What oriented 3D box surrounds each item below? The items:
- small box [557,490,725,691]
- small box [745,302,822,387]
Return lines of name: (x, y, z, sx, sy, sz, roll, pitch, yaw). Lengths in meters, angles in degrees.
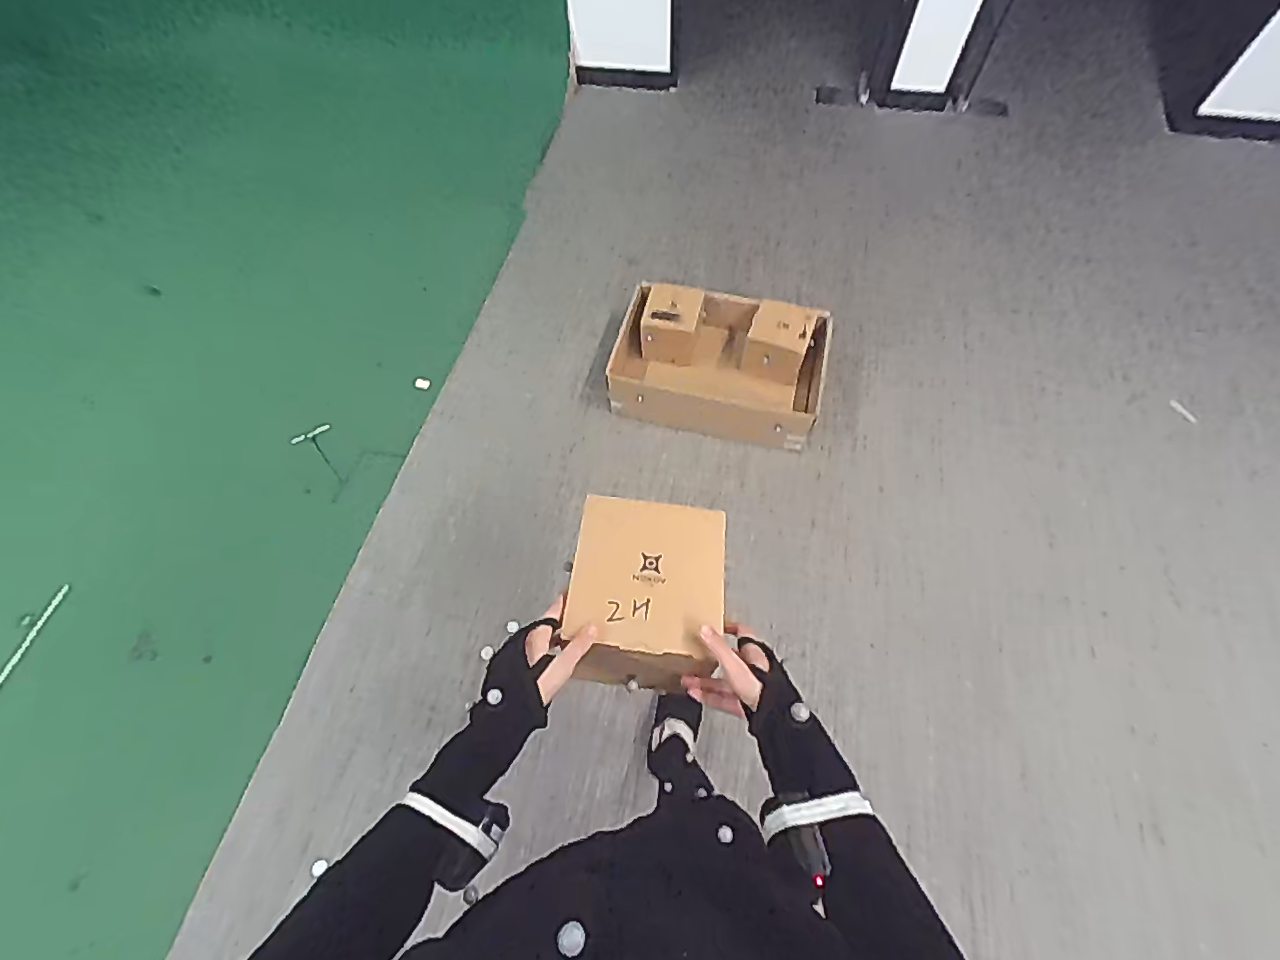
small box: (0.002, 0.138, 0.653, 0.168, 0.176, 0.179, 8, 57, 1)
small box: (0.431, -0.409, 1.650, 0.179, 0.176, 0.168, 20, 67, 14)
